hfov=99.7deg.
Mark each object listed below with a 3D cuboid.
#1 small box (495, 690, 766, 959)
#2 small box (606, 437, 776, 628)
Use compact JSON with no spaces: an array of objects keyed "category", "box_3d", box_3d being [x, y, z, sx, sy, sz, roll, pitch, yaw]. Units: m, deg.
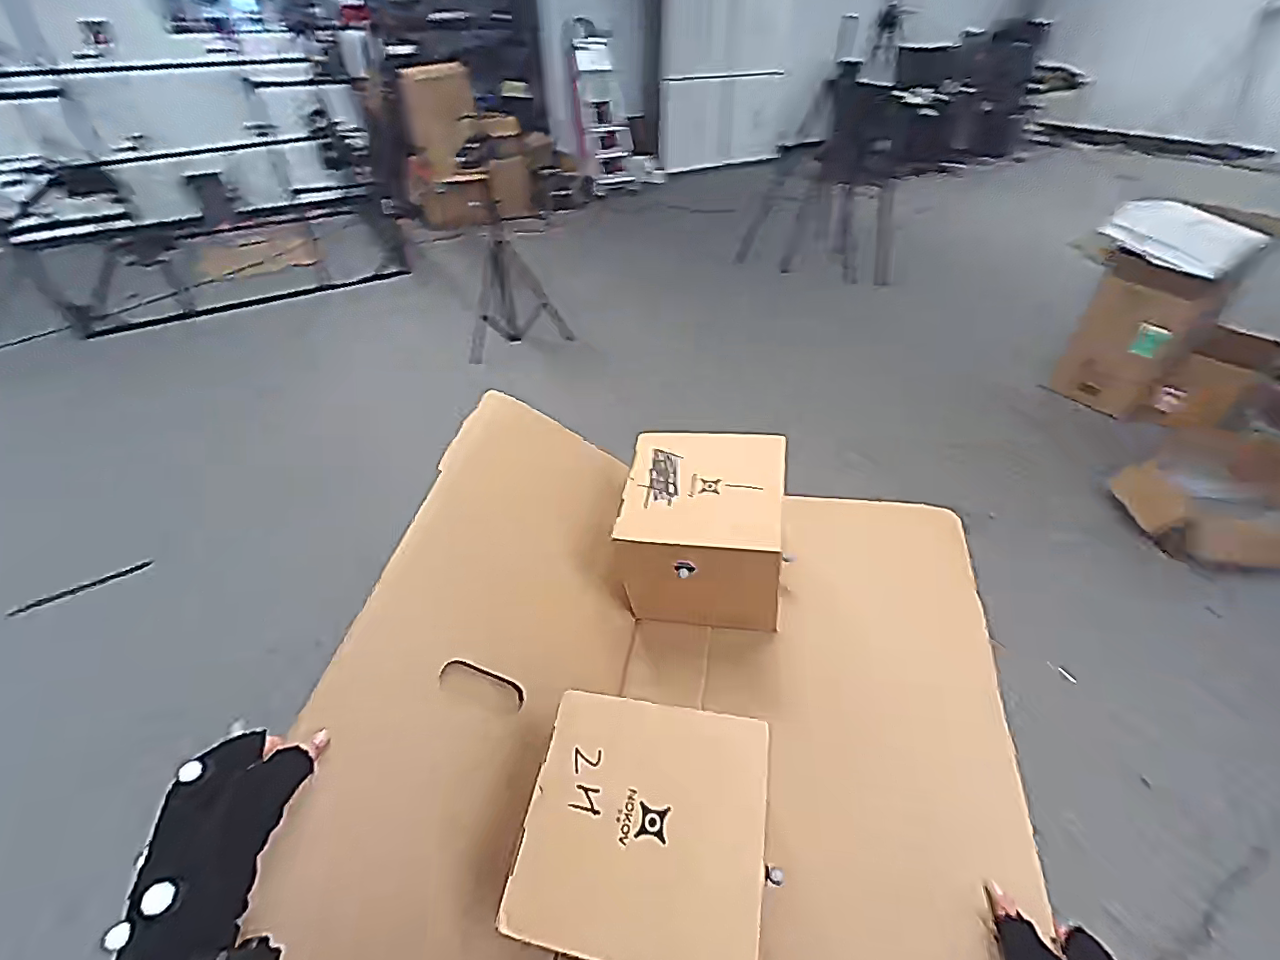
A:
[{"category":"small box","box_3d":[0.012,0.302,0.459,0.179,0.176,0.168,3,49,16]},{"category":"small box","box_3d":[0.074,0.065,0.663,0.179,0.176,0.168,2,48,13]}]
